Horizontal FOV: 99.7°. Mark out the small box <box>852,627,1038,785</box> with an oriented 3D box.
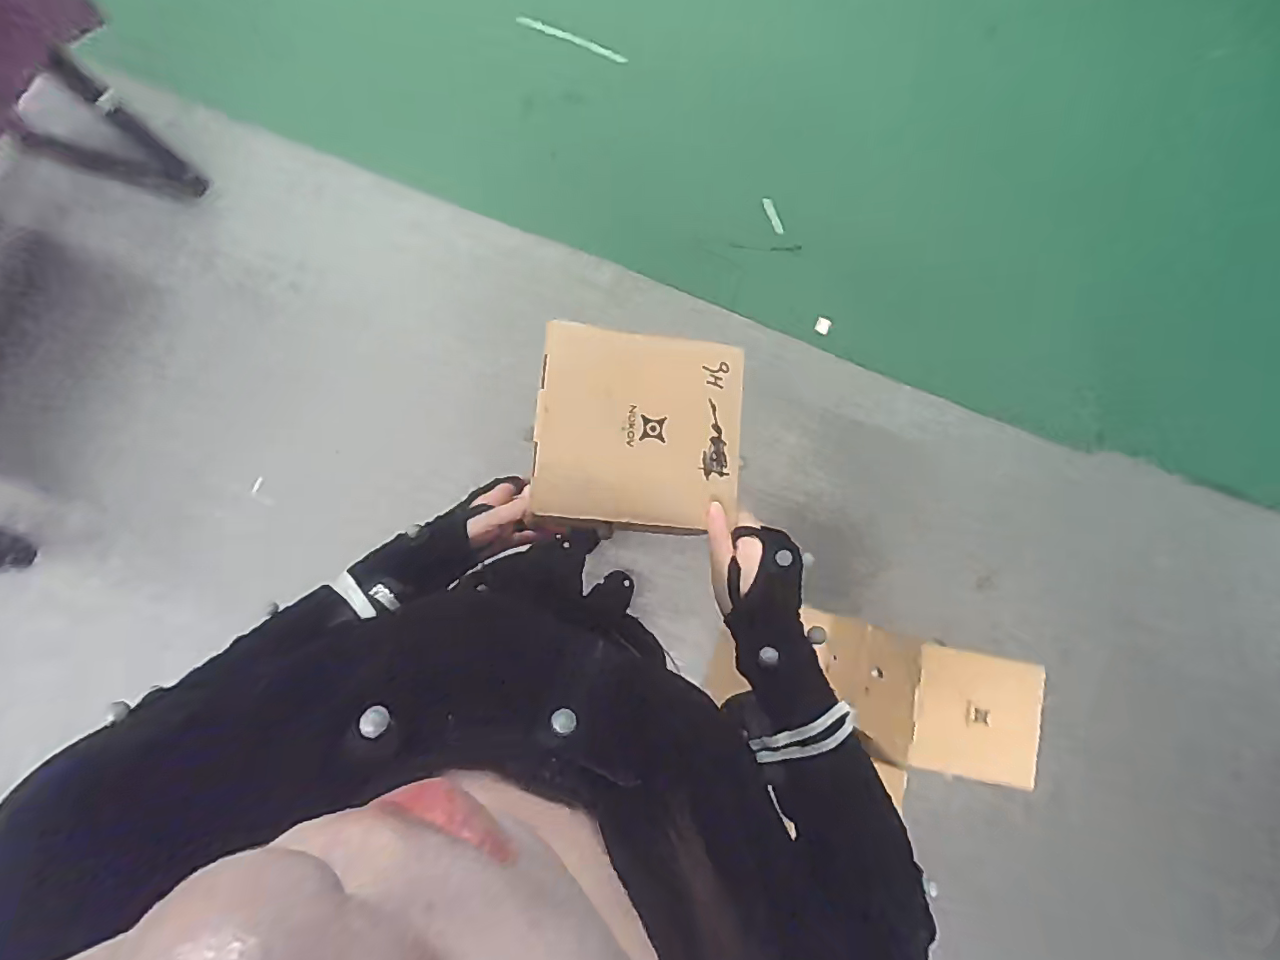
[{"bbox_3d":[0.454,0.331,0.828,0.179,0.176,0.168,12,83,-1],"label":"small box"}]
